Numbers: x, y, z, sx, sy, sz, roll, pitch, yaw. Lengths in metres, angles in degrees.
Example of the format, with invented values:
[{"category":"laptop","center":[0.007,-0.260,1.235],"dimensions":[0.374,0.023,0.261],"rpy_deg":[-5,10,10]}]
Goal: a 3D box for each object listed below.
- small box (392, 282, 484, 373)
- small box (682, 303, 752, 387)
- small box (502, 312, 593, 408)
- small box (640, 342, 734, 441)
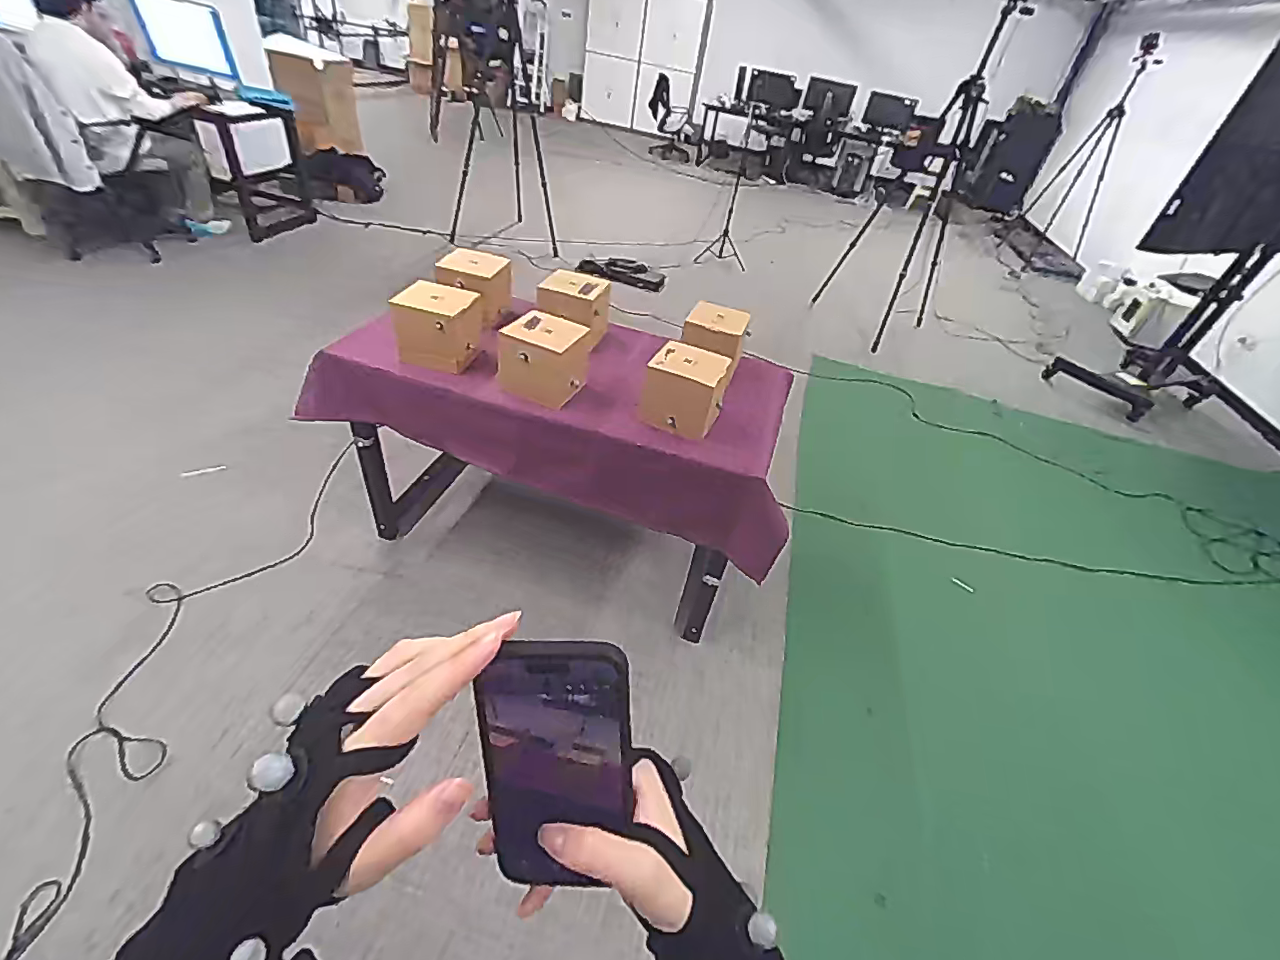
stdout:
[{"category":"small box","center":[-0.536,-0.409,1.457],"dimensions":[0.179,0.176,0.168],"rpy_deg":[14,40,2]},{"category":"small box","center":[0.221,-0.404,1.621],"dimensions":[0.168,0.176,0.179],"rpy_deg":[19,41,10]},{"category":"small box","center":[-0.242,-0.310,1.407],"dimensions":[0.179,0.176,0.168],"rpy_deg":[22,41,11]},{"category":"small box","center":[0.117,-0.222,1.387],"dimensions":[0.179,0.176,0.168],"rpy_deg":[22,41,12]}]
